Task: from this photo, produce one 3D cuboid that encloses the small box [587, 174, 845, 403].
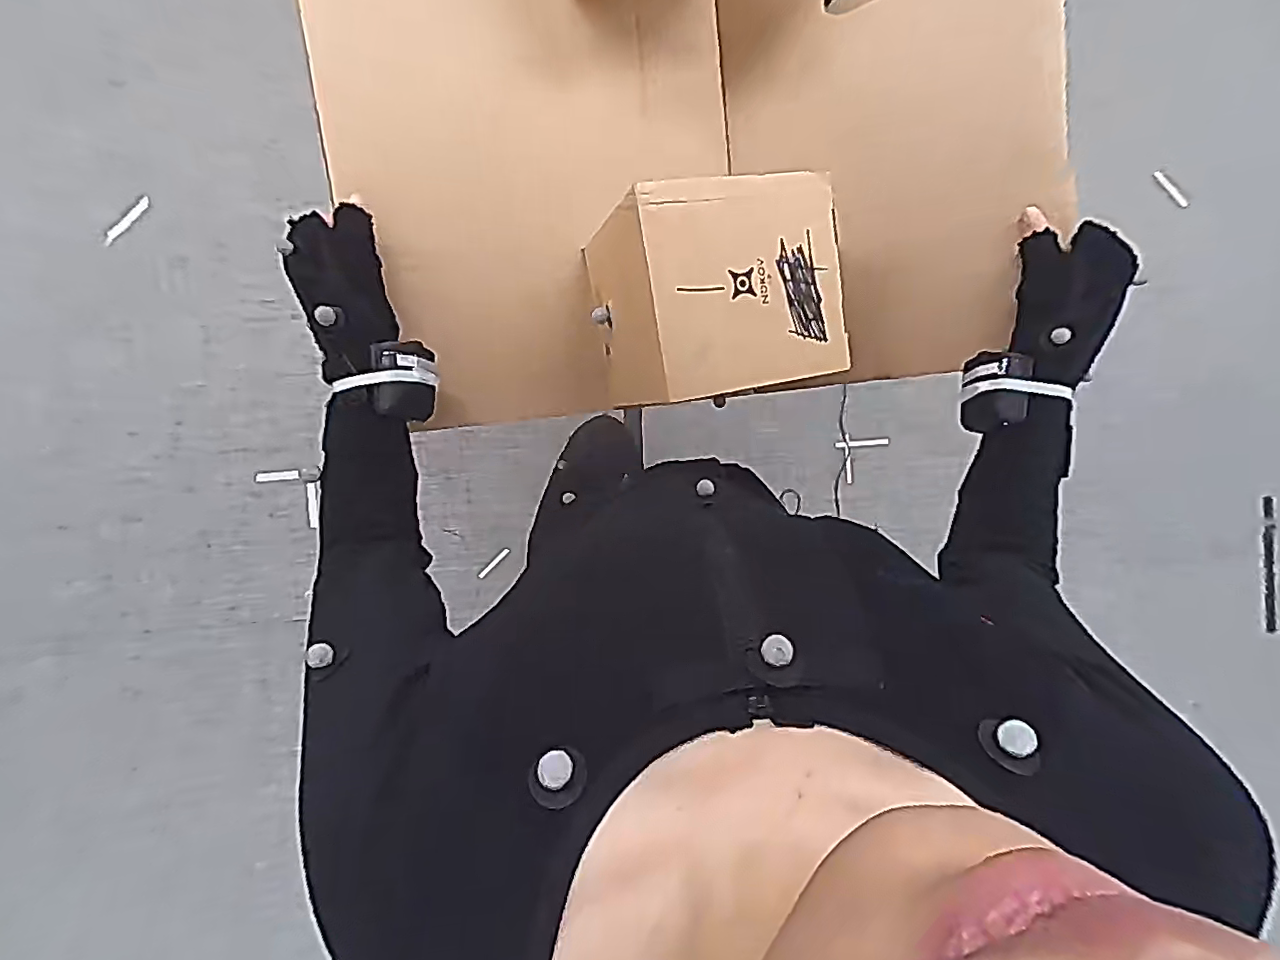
[{"bbox_3d":[0.063,-0.169,0.514,0.179,0.176,0.168,-13,100,-16],"label":"small box"}]
